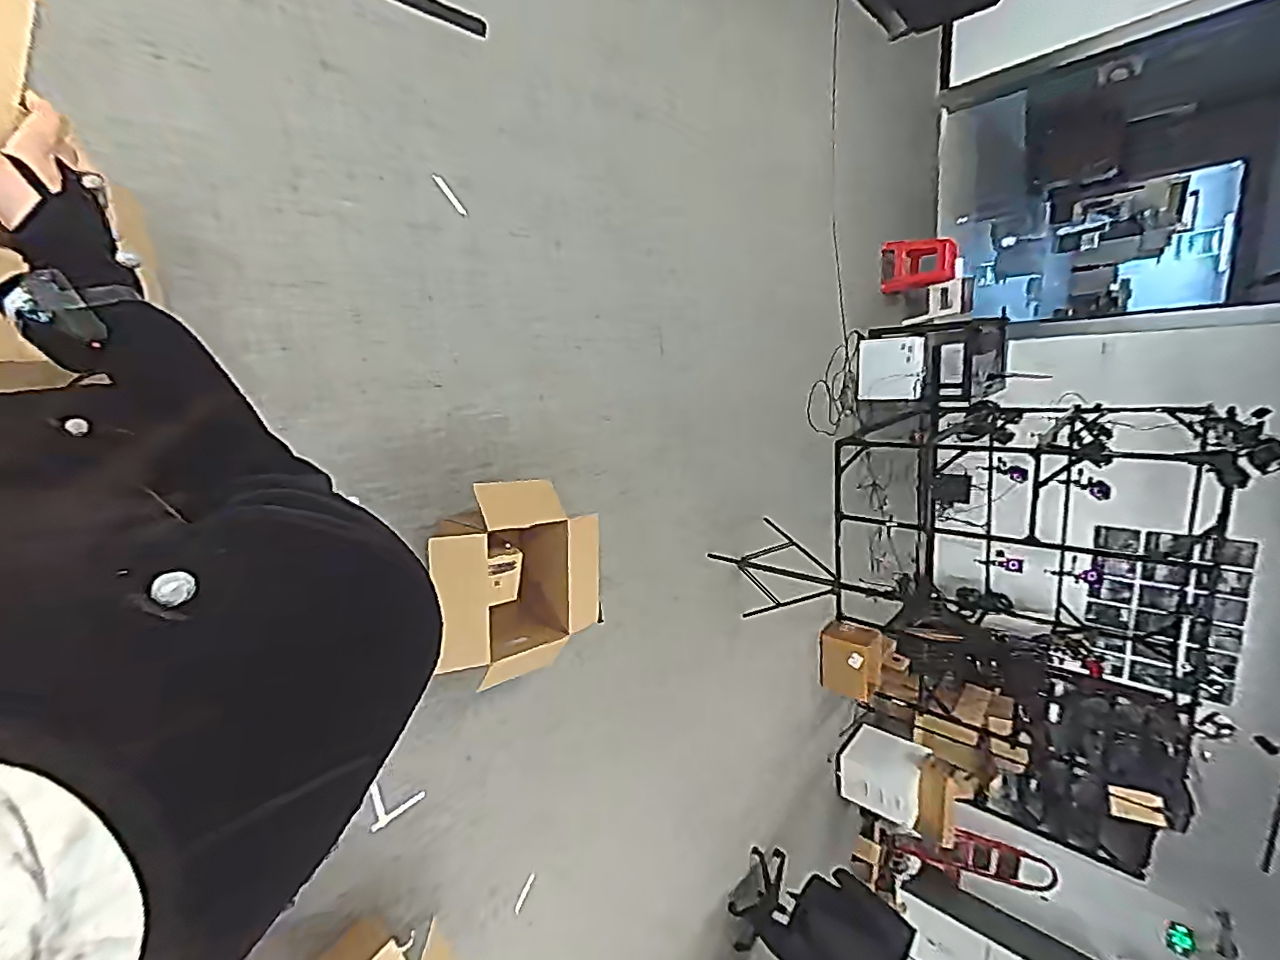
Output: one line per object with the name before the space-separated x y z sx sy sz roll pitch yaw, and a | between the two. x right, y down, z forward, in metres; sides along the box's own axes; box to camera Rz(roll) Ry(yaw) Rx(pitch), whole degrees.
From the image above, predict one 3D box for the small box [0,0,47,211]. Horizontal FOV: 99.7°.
small box | -0.586 -0.312 0.380 0.179 0.176 0.168 8 93 -64
